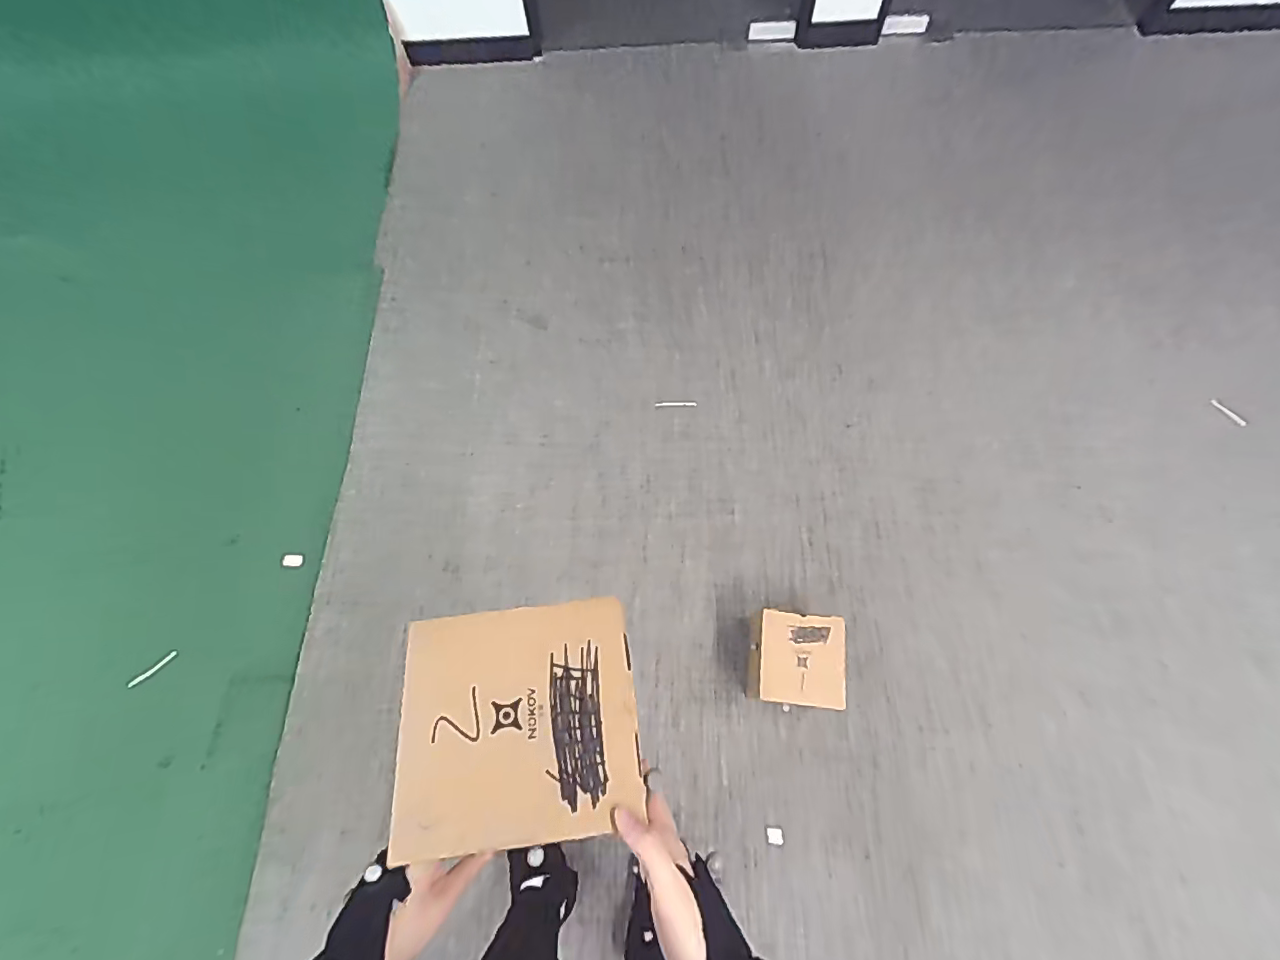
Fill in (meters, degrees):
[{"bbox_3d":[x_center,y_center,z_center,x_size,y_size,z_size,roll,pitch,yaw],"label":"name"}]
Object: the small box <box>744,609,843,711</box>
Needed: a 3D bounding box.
[{"bbox_3d":[0.316,0.377,1.135,0.168,0.176,0.179,6,71,4],"label":"small box"}]
